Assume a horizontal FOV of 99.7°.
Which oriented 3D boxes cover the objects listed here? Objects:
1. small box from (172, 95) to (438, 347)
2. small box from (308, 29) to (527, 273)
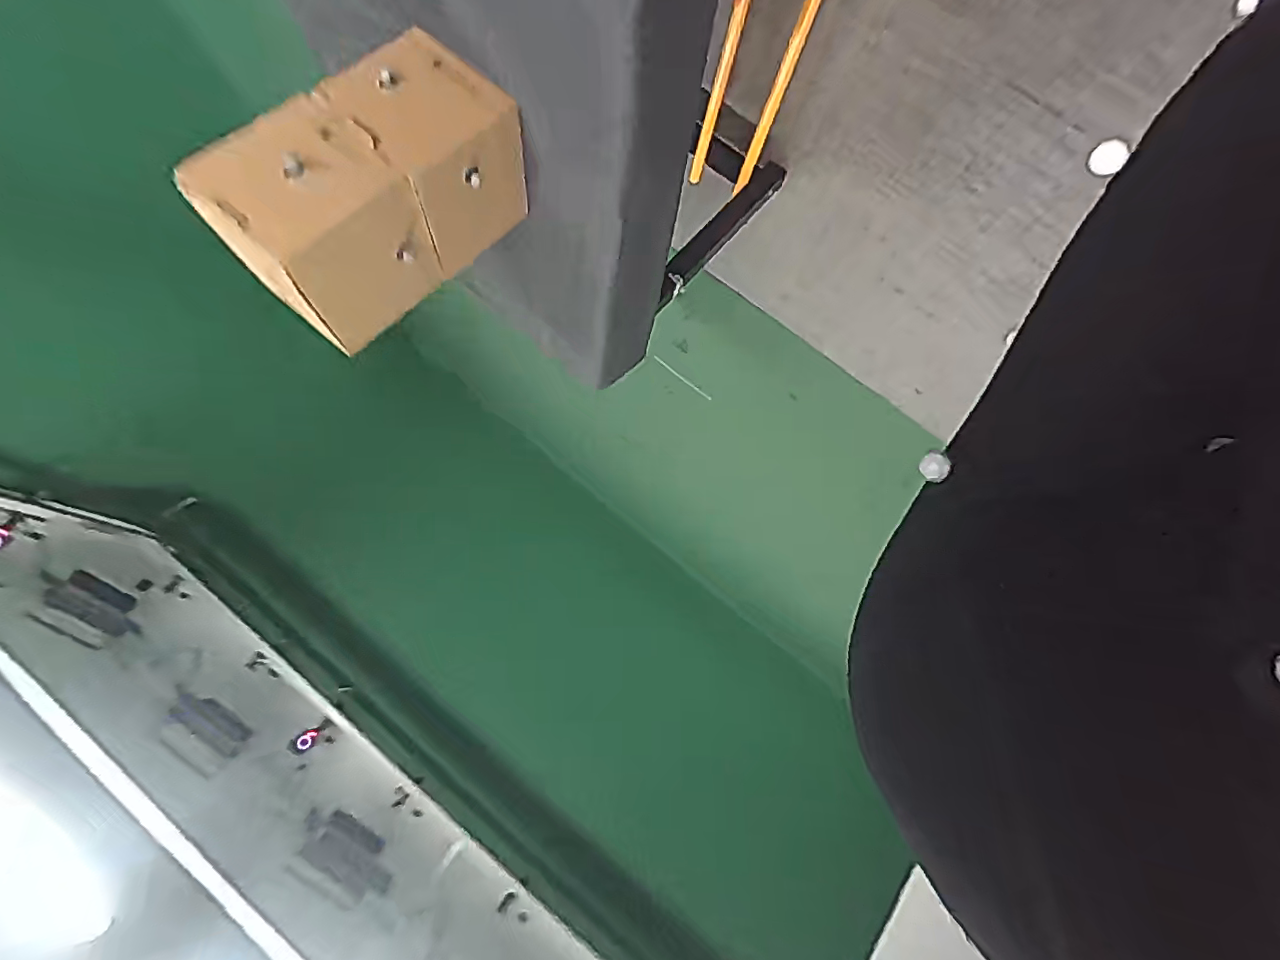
[{"bbox_3d":[-0.373,-0.302,0.642,0.168,0.176,0.179,39,161,7],"label":"small box"},{"bbox_3d":[-0.264,-0.415,0.691,0.168,0.176,0.179,40,162,6],"label":"small box"}]
